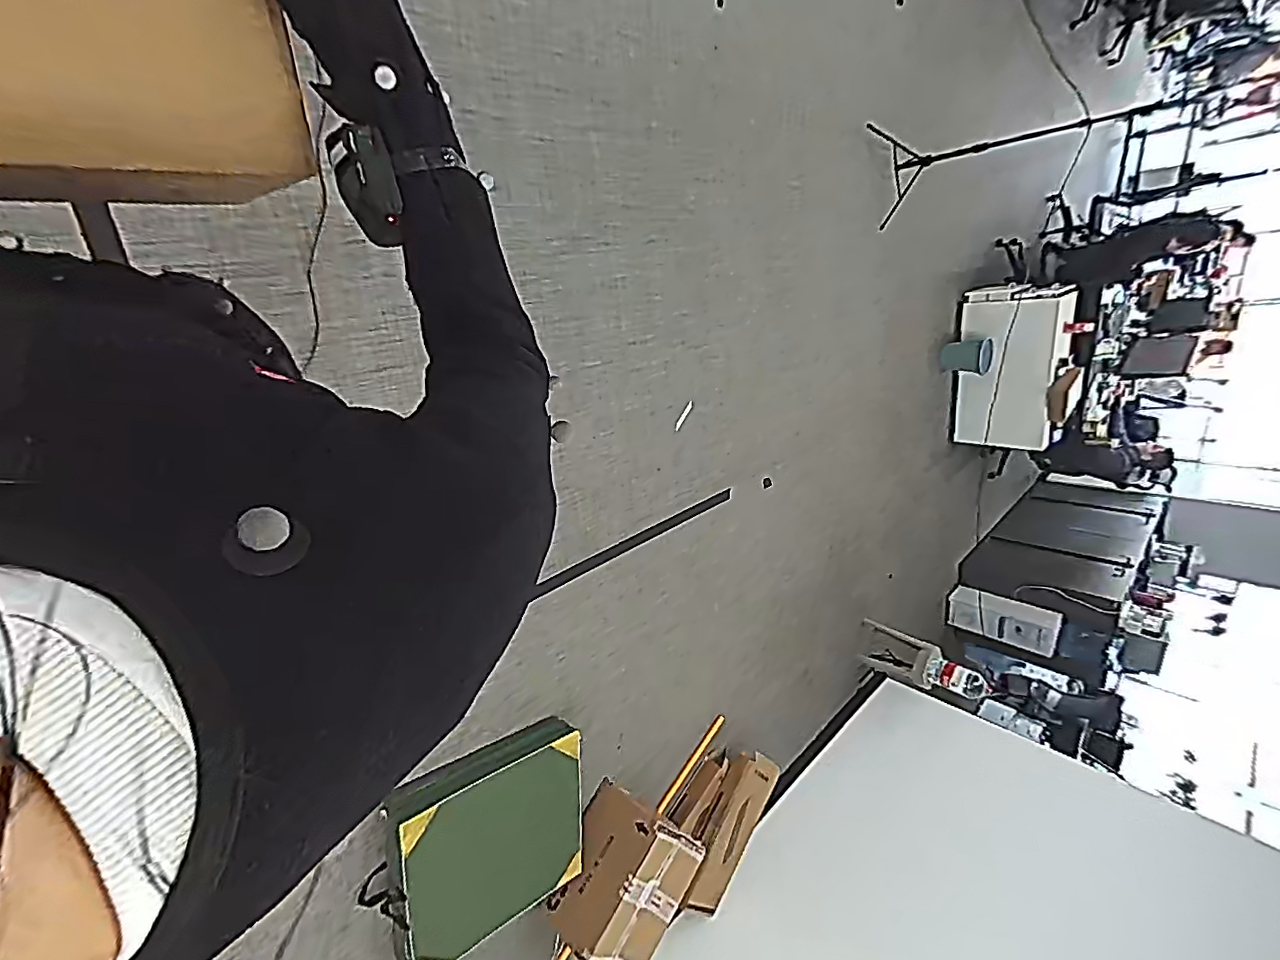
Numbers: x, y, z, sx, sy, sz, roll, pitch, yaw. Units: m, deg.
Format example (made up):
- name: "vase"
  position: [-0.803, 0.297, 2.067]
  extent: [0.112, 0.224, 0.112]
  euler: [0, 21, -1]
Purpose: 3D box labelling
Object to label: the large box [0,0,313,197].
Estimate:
- name: "large box"
  position: [-0.488, -0.345, 0.310]
  extent: [0.408, 0.320, 0.320]
  euler: [-23, 123, -37]
